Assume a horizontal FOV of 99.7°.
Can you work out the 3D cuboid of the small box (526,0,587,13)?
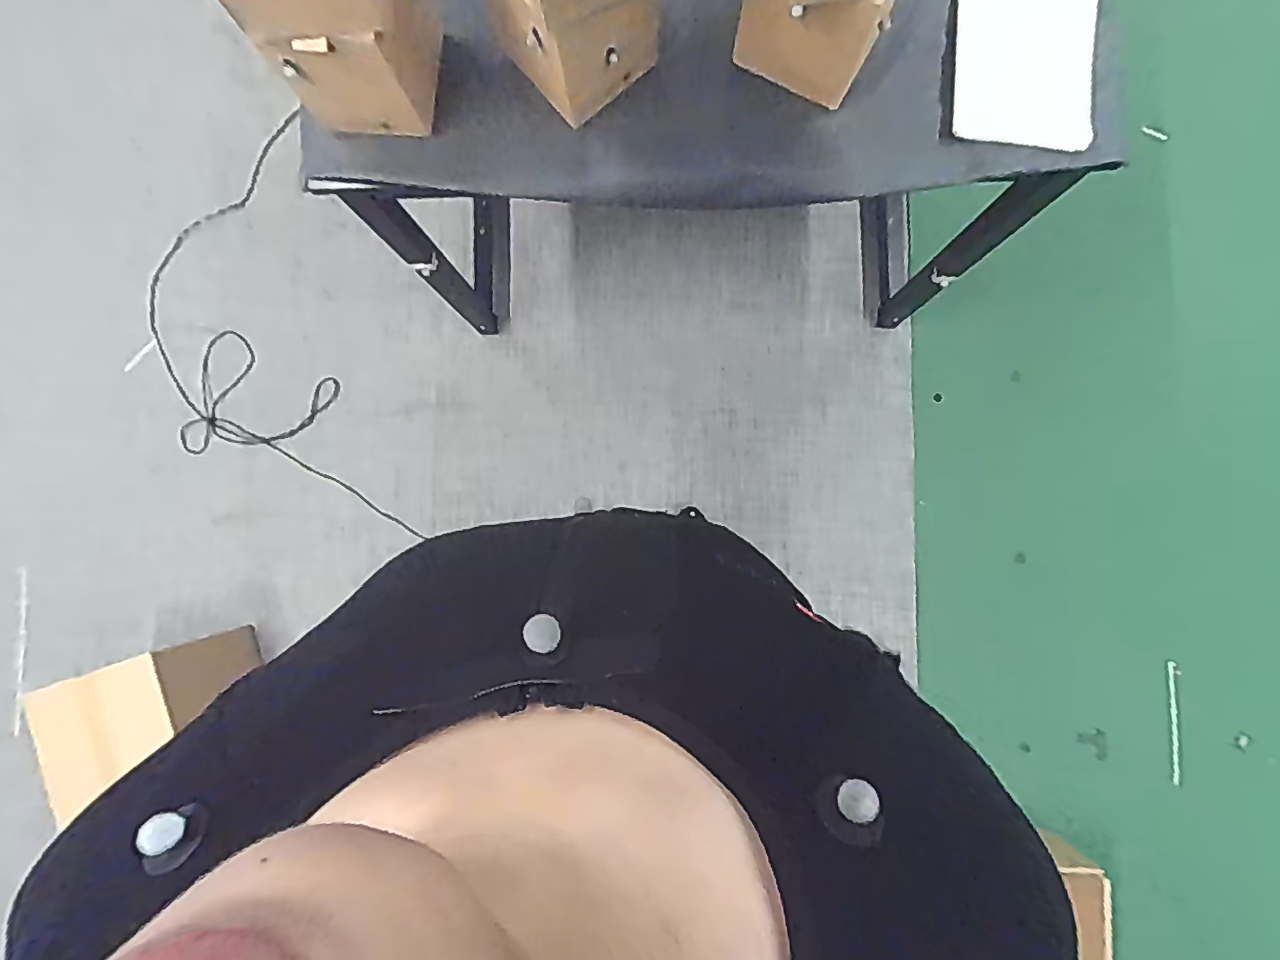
[{"bbox_3d":[-0.087,-0.650,0.568,0.168,0.176,0.179,-29,85,-1],"label":"small box"}]

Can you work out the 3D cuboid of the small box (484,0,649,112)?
[{"bbox_3d":[-0.099,-0.647,0.731,0.168,0.176,0.179,-41,86,-2],"label":"small box"}]

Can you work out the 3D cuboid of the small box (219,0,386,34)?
[{"bbox_3d":[-0.397,-0.621,0.574,0.179,0.176,0.168,-4,85,1],"label":"small box"}]

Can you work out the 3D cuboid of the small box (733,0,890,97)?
[{"bbox_3d":[0.244,-0.664,0.722,0.179,0.176,0.168,29,88,4],"label":"small box"}]
